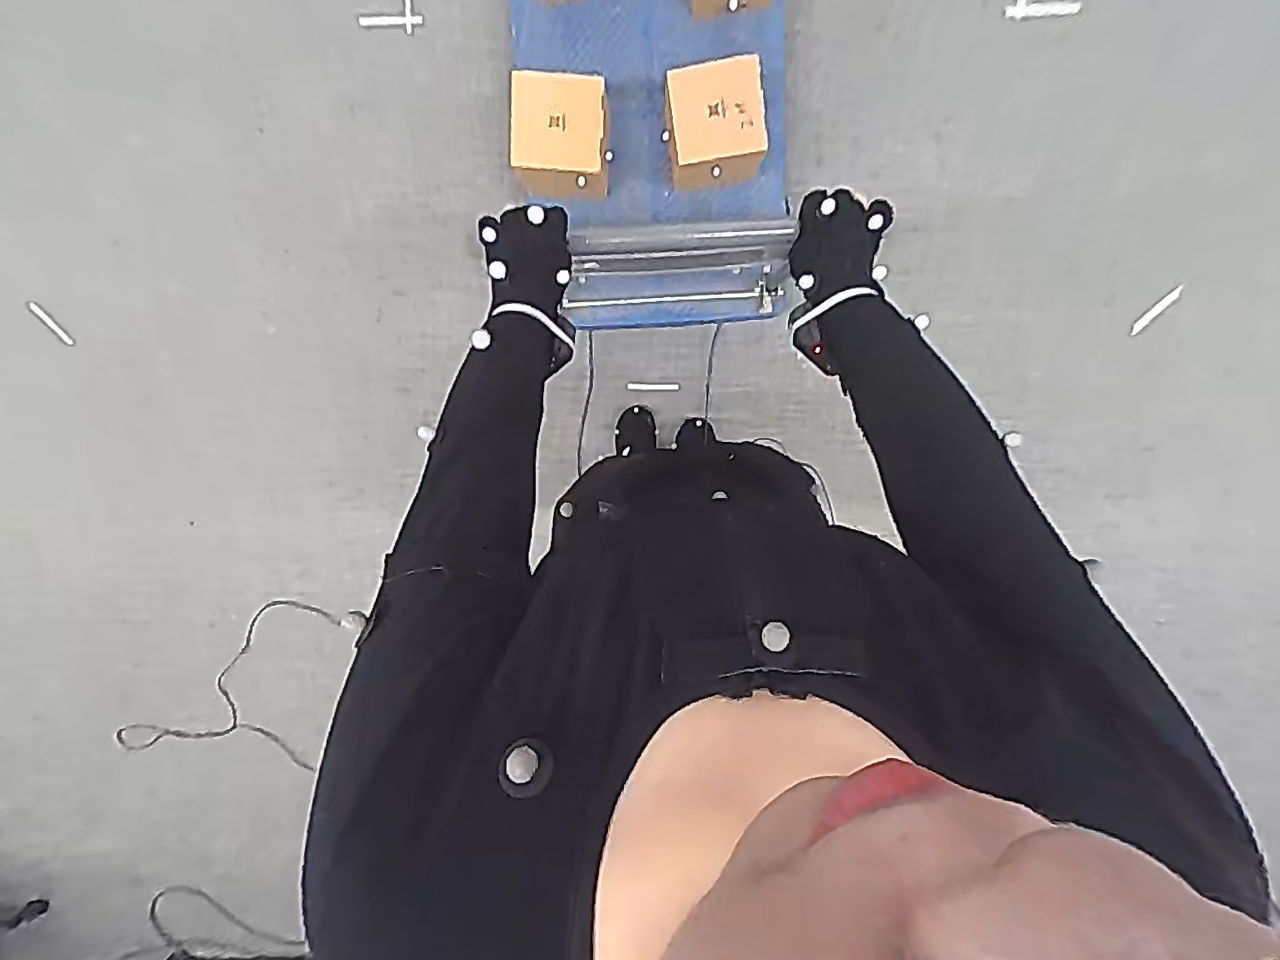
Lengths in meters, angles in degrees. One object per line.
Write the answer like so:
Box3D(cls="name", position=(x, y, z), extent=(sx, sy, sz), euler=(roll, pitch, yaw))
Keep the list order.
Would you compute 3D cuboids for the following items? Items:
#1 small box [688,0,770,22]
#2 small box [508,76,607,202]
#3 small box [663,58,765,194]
Box3D(cls="small box", position=(0.173, -1.032, 1.031), extent=(0.168, 0.176, 0.179), euler=(-7, 101, 2))
Box3D(cls="small box", position=(-0.162, -0.684, 1.103), extent=(0.179, 0.176, 0.168), euler=(3, 100, -1))
Box3D(cls="small box", position=(0.142, -0.701, 1.094), extent=(0.179, 0.176, 0.168), euler=(-9, 101, 3))
